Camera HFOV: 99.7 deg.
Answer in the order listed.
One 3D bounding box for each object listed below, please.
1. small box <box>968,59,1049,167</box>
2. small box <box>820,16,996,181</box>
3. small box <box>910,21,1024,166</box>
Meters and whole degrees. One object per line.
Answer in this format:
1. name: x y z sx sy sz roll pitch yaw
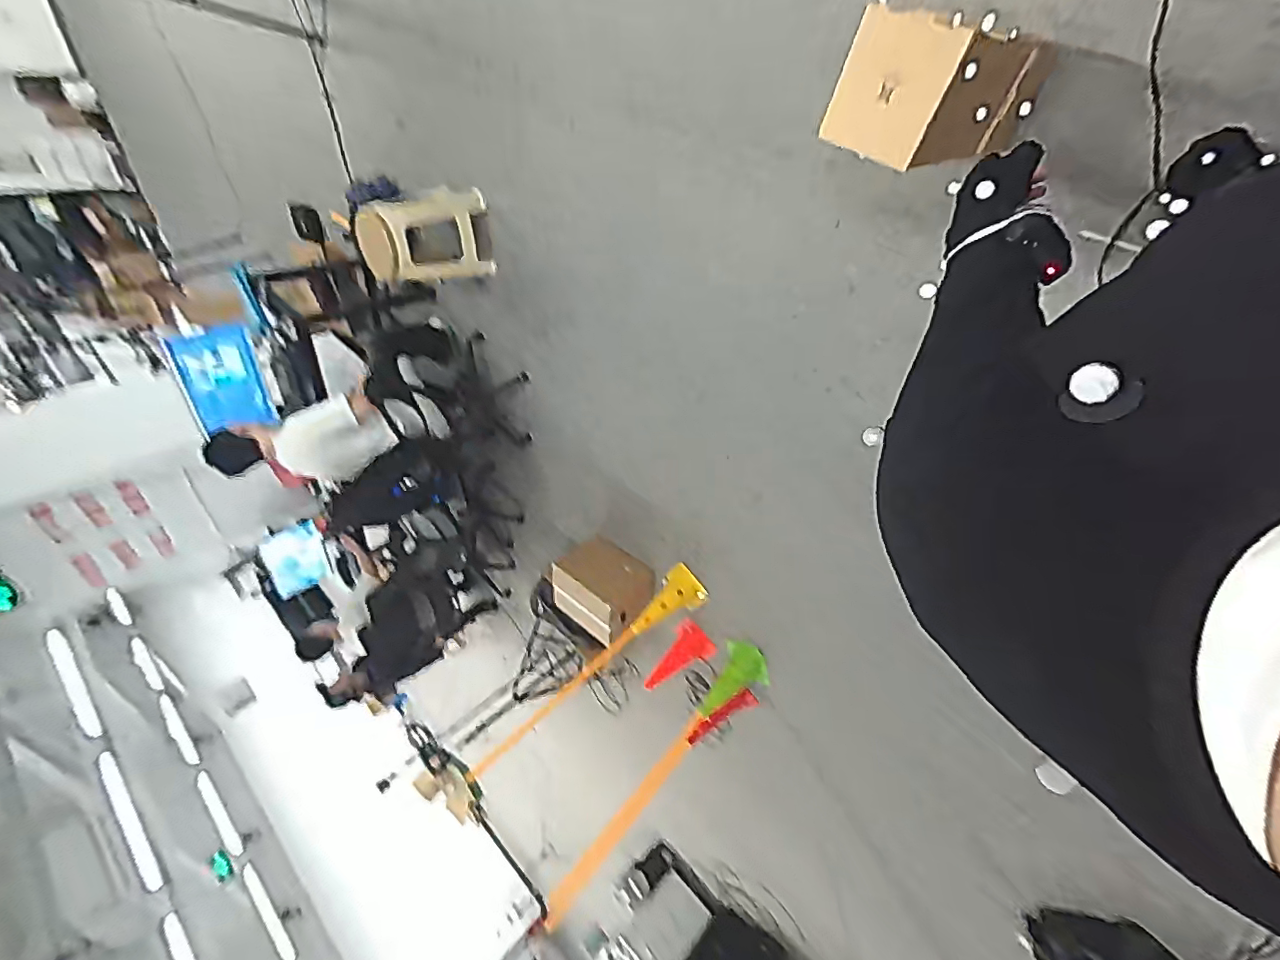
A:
1. small box: 0.657 -0.740 1.064 0.179 0.176 0.168 39 137 23
2. small box: 0.430 -0.606 0.870 0.168 0.176 0.179 40 137 23
3. small box: 0.541 -0.678 0.965 0.168 0.176 0.179 40 137 23
